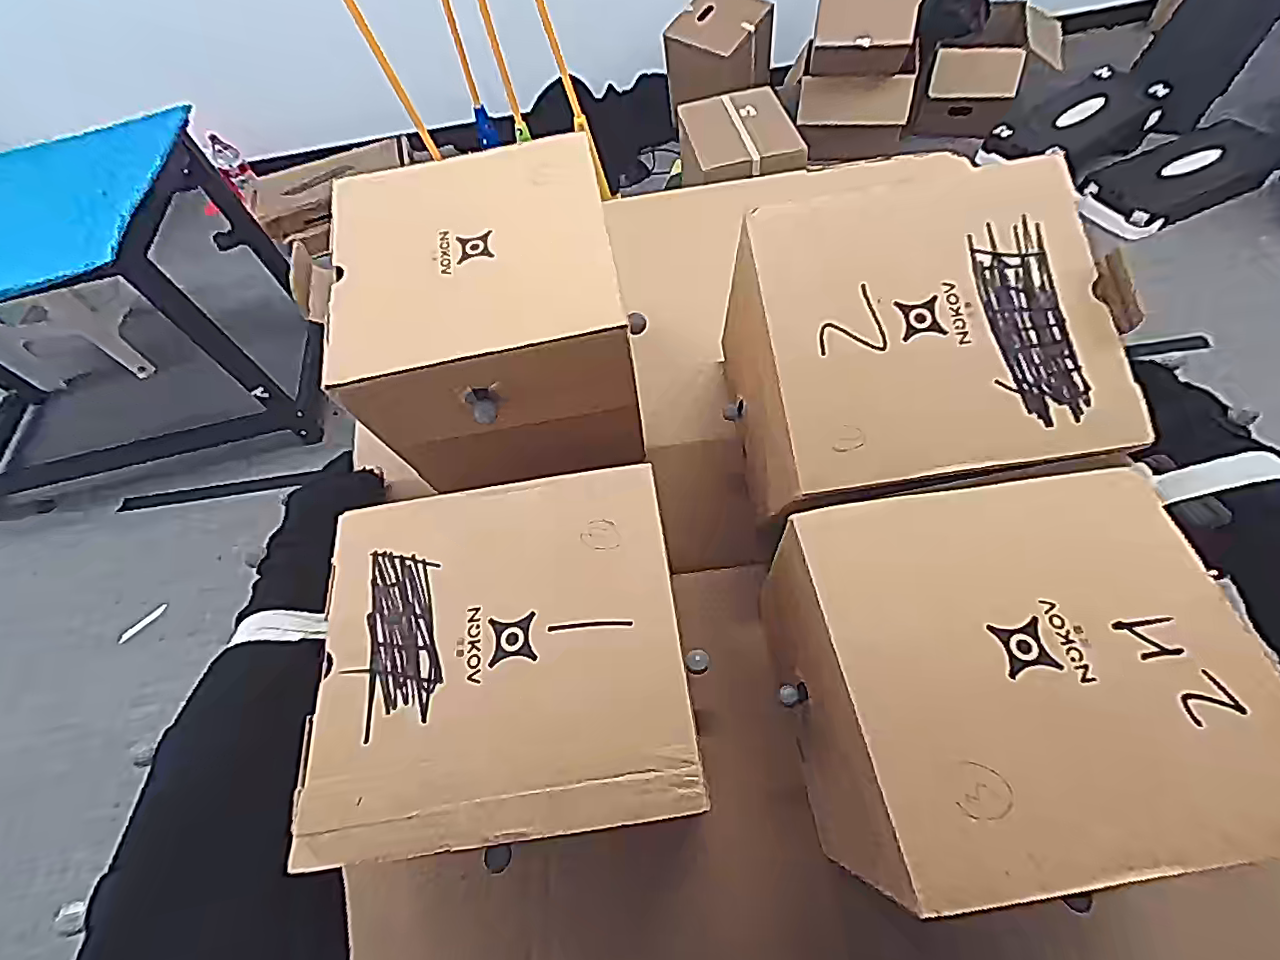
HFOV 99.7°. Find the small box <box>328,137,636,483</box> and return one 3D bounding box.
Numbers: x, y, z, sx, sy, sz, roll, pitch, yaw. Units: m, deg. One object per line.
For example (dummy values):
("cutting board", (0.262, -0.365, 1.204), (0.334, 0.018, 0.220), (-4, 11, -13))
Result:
("small box", (-0.101, -0.114, 0.414), (0.179, 0.176, 0.168), (-12, 67, 1))
